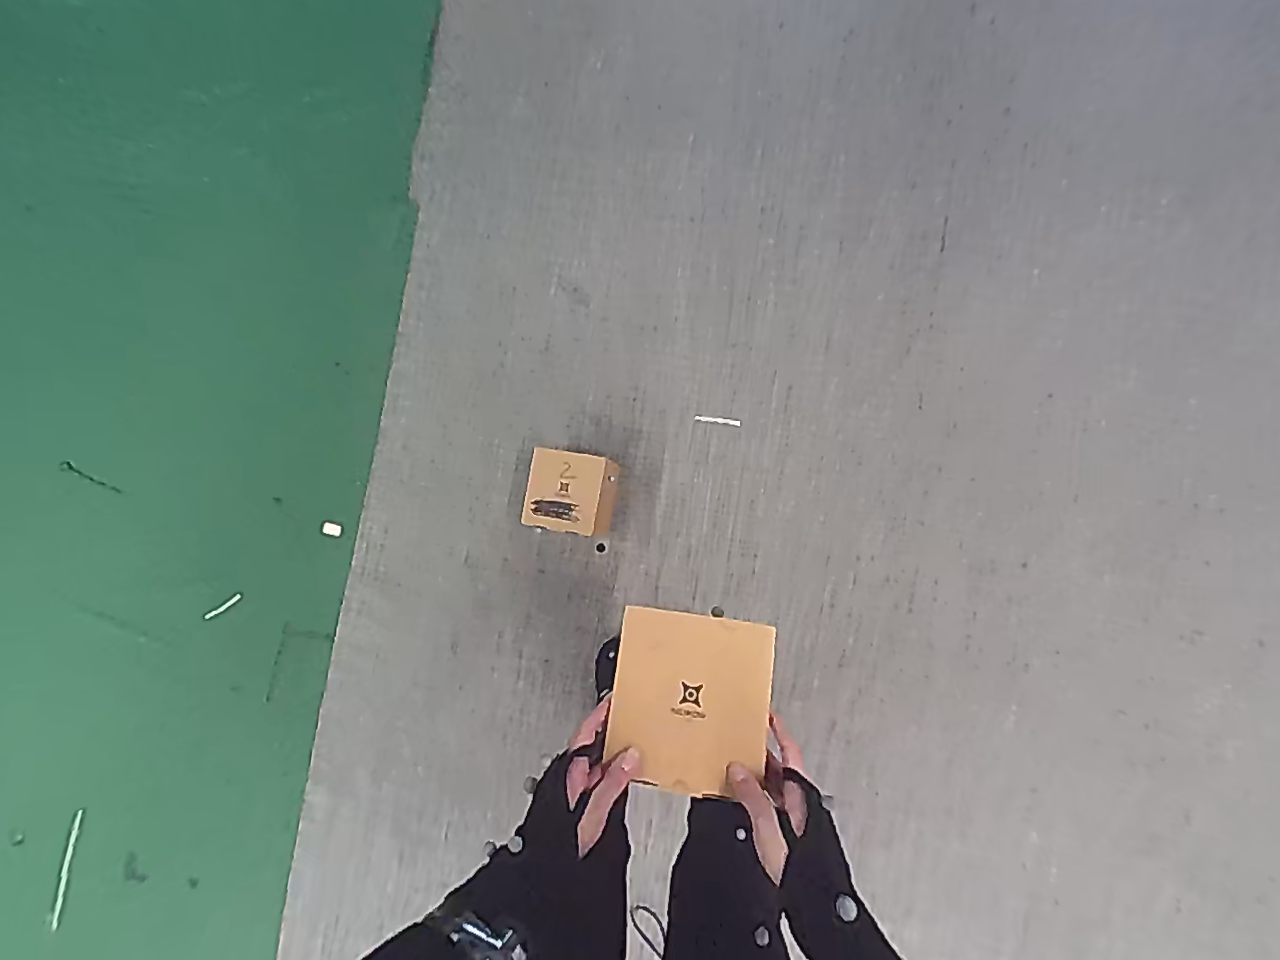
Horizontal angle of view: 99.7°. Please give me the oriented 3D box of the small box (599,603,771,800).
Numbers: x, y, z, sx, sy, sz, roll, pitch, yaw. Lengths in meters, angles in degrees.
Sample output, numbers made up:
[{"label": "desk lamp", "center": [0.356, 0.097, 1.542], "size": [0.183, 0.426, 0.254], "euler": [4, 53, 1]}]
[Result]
[{"label": "small box", "center": [0.055, 0.251, 0.652], "size": [0.168, 0.176, 0.179], "euler": [7, 76, 7]}]
